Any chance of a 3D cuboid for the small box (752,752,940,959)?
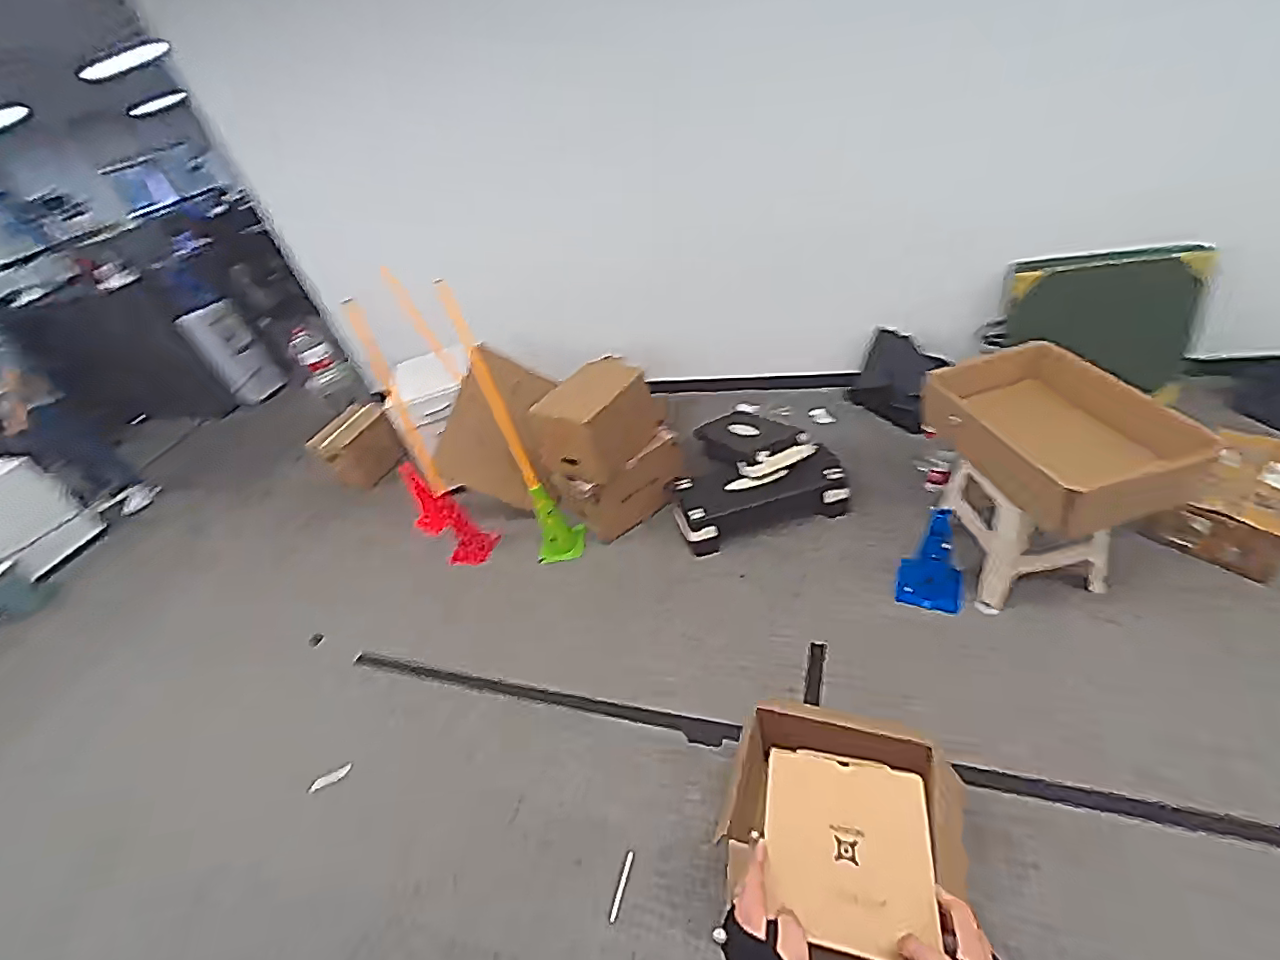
[{"bbox_3d":[0.218,0.448,0.610,0.168,0.176,0.179,4,39,15],"label":"small box"}]
